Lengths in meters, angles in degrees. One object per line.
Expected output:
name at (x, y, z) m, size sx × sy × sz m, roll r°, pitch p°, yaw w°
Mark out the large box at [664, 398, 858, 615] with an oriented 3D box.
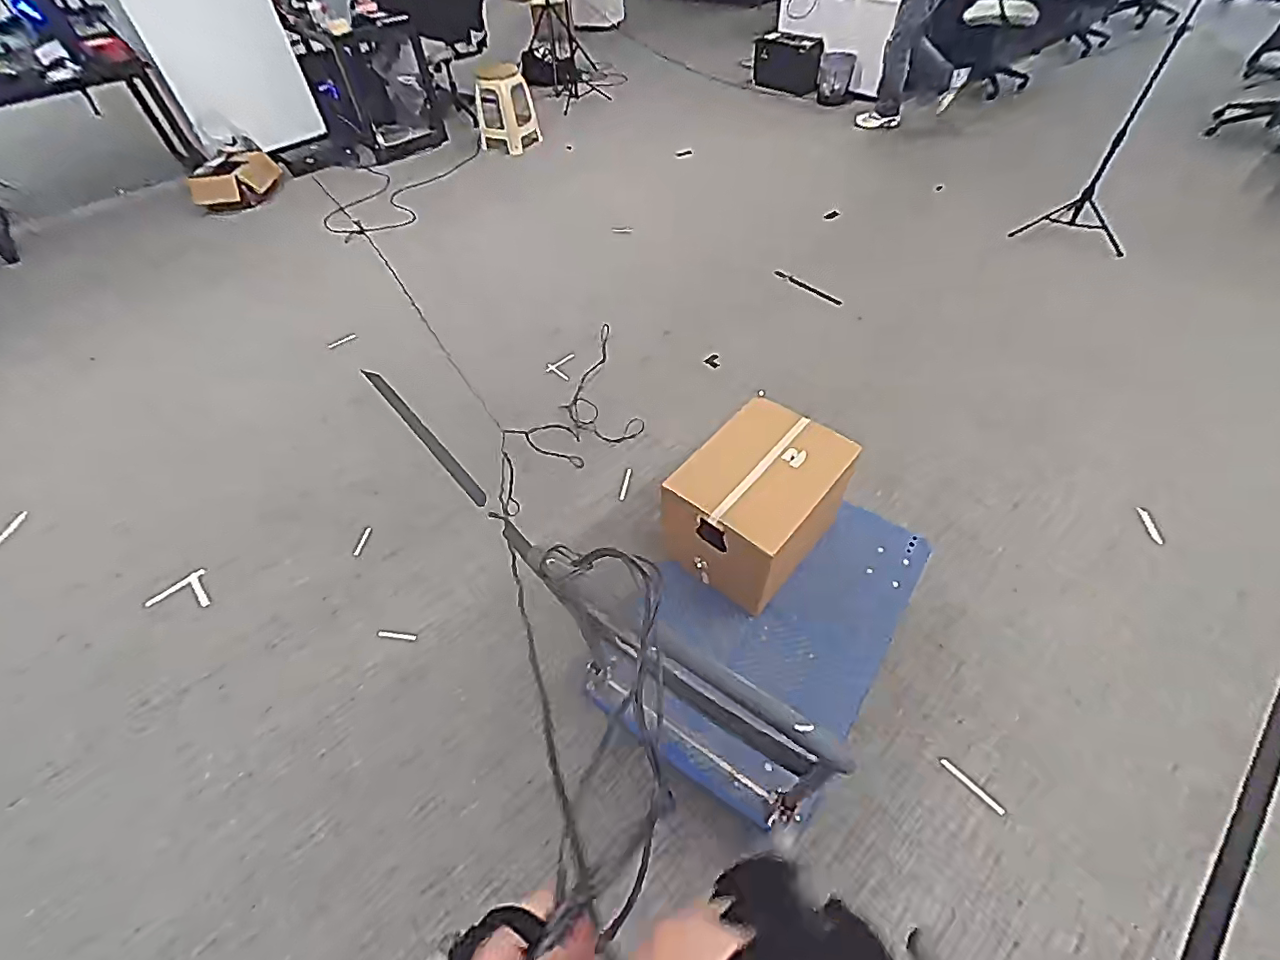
large box at (0.302, 0.065, 1.412) m, size 0.320 × 0.320 × 0.408 m, roll 33°, pitch 60°, yaw 26°
